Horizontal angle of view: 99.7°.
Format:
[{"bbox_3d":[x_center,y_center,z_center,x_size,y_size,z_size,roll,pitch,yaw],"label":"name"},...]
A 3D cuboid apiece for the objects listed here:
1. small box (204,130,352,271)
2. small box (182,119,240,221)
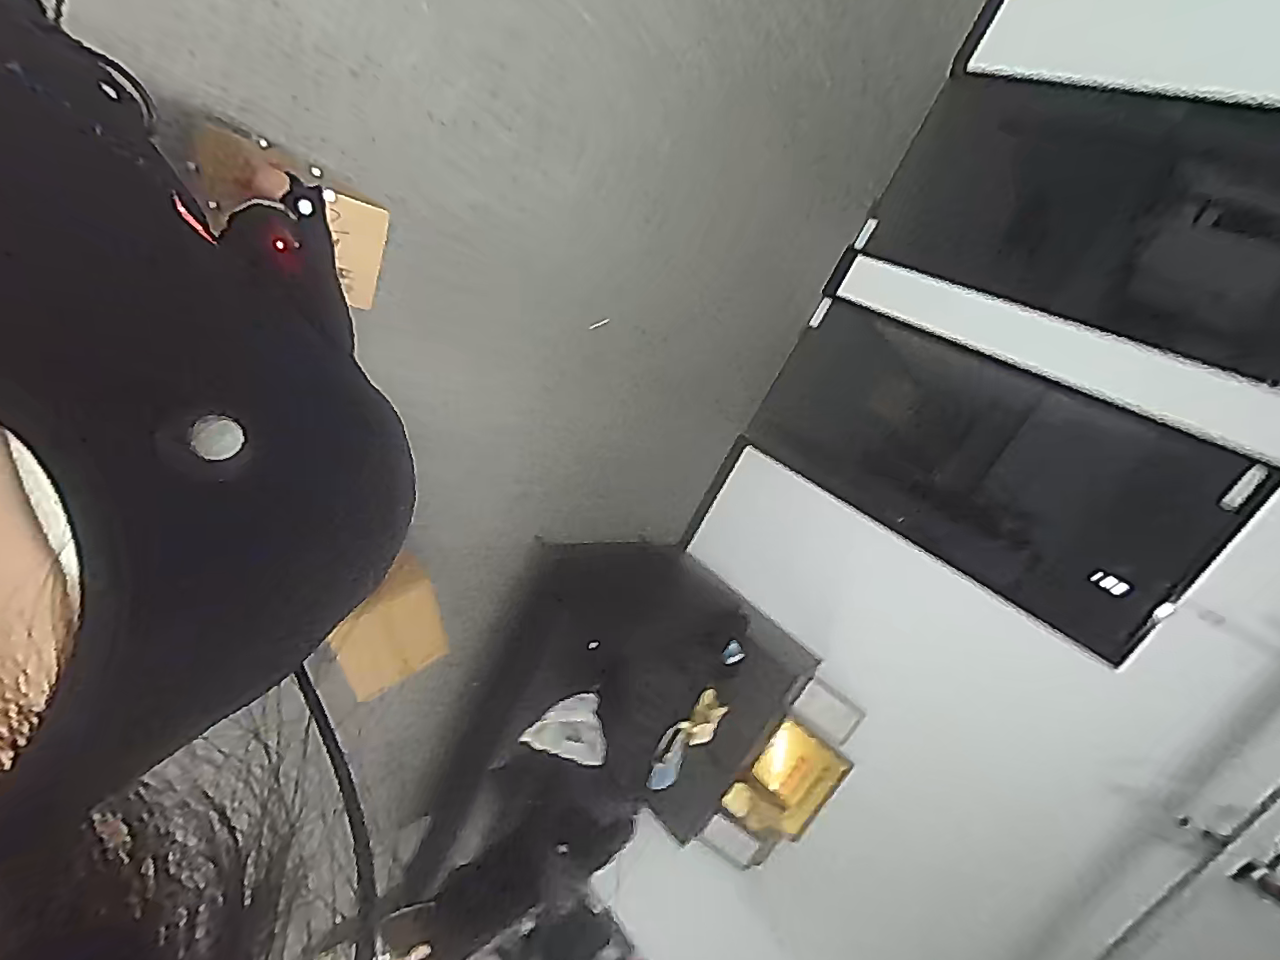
[{"bbox_3d":[-0.677,-0.519,1.004,0.179,0.176,0.168,-1,124,-53],"label":"small box"},{"bbox_3d":[-0.791,-0.596,1.093,0.179,0.176,0.168,4,119,-53],"label":"small box"}]
